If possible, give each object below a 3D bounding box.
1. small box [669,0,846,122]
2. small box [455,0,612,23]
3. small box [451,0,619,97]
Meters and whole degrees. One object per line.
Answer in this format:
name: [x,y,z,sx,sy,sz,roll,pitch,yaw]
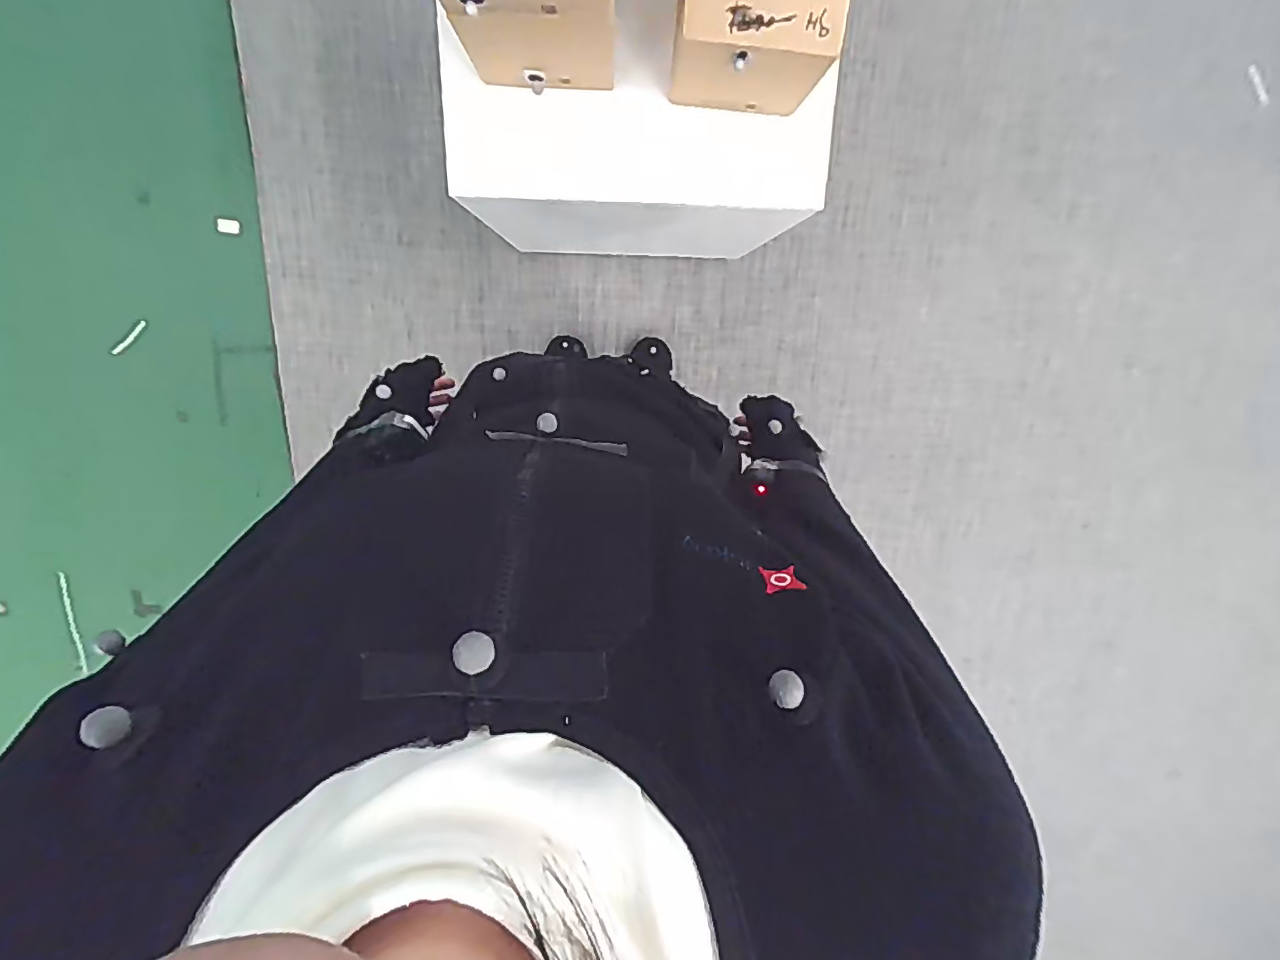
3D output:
small box: [0.127,-0.541,0.608,0.168,0.176,0.179,5,105,-3]
small box: [-0.104,-0.517,0.439,0.168,0.176,0.179,2,104,-2]
small box: [-0.109,-0.560,0.598,0.168,0.176,0.179,0,107,-1]
